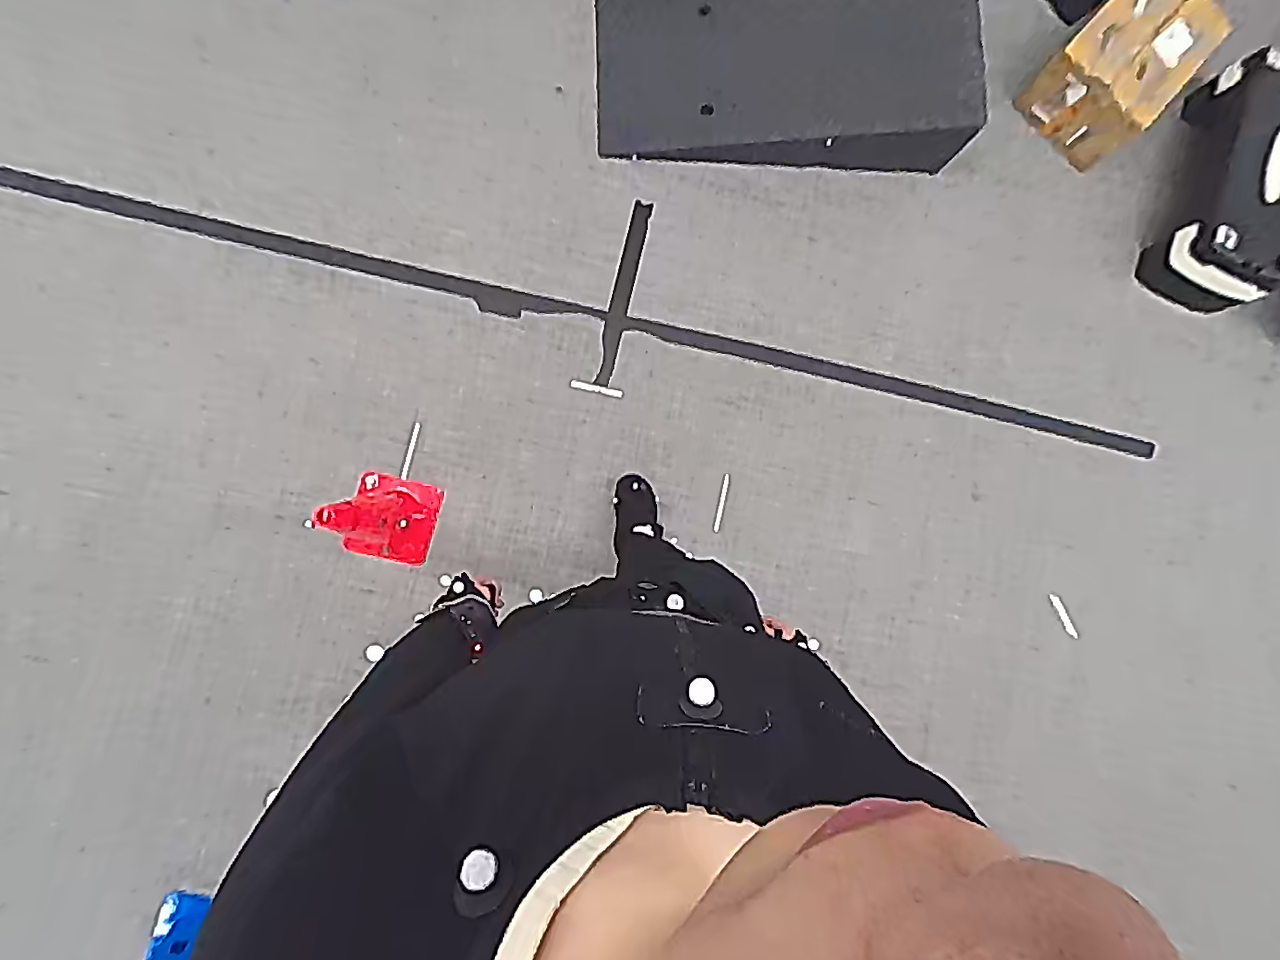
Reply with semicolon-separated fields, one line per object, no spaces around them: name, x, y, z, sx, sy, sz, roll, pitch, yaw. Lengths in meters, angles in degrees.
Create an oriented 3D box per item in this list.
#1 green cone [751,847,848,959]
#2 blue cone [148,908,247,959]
green cone;0.391;1.005;1.166;0.200;0.368;0.202;2;87;-6
blue cone;-0.967;1.042;1.033;0.193;0.380;0.192;16;84;-4
